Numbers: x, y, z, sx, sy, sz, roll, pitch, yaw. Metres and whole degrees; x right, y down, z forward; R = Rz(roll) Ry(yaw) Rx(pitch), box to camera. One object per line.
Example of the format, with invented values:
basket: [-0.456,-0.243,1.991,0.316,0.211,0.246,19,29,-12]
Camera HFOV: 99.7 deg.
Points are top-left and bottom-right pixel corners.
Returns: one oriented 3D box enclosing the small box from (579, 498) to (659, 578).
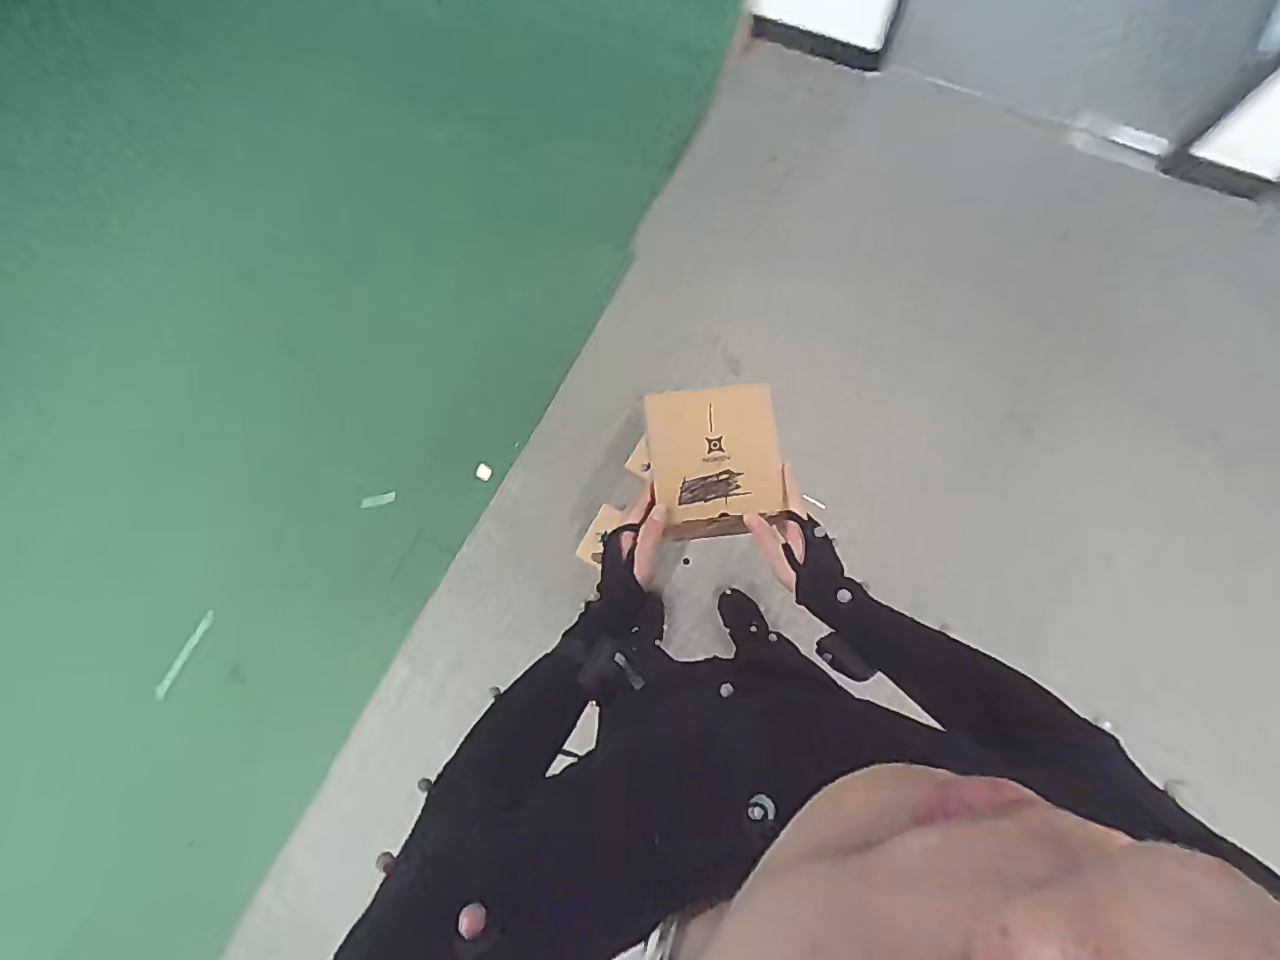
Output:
small box: [-0.053,0.176,1.603,0.168,0.176,0.179,30,84,12]

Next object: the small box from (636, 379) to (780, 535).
small box: [0.087,-0.021,0.761,0.168,0.176,0.179,-7,75,0]
